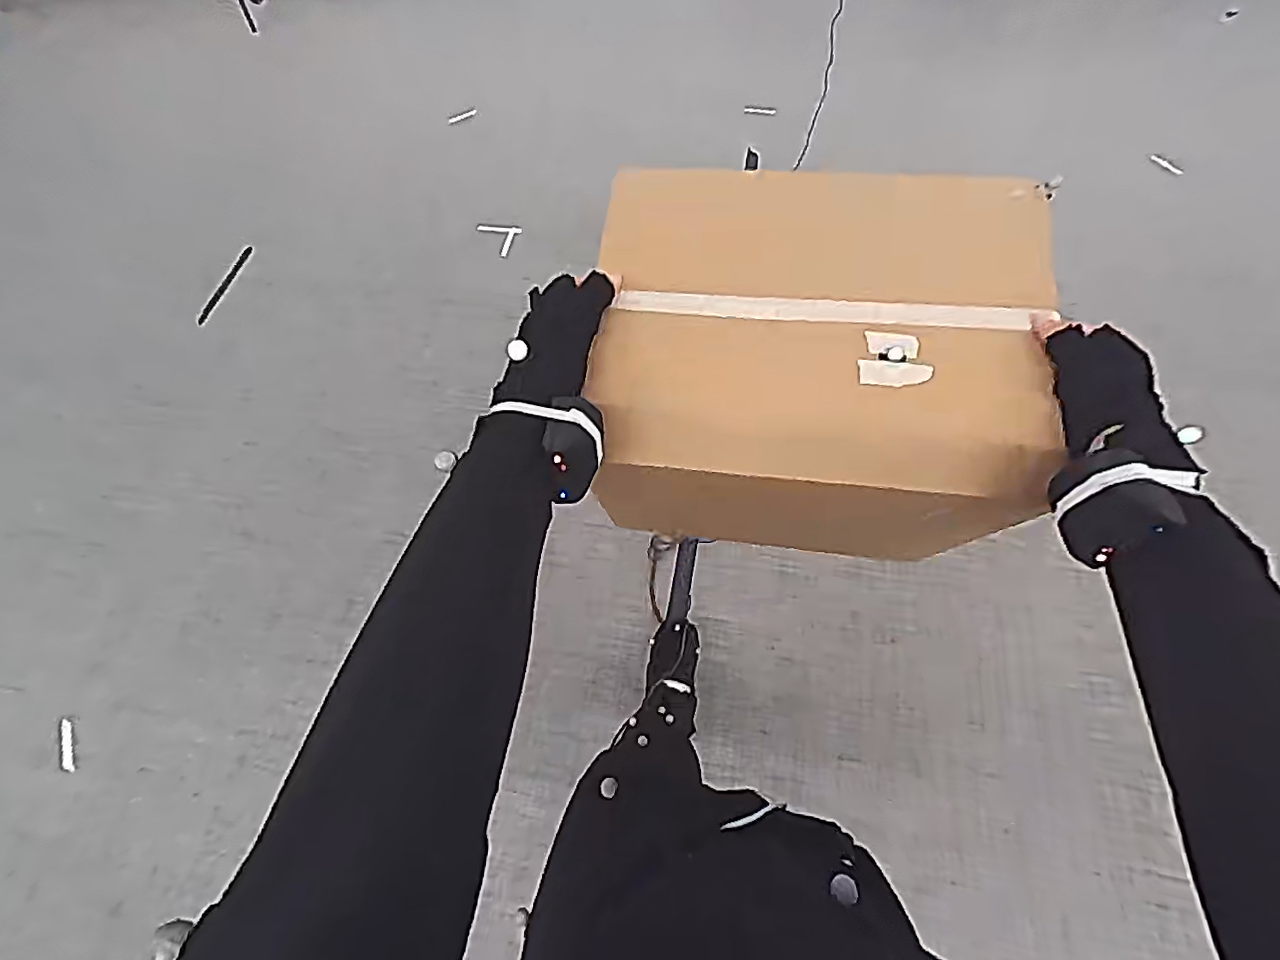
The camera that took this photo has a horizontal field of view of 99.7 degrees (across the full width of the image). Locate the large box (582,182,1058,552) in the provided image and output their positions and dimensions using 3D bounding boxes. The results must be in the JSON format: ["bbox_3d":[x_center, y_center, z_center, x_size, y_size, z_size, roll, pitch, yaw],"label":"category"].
[{"bbox_3d":[0.172,-0.107,0.640,0.408,0.320,0.320,6,75,7],"label":"large box"}]
